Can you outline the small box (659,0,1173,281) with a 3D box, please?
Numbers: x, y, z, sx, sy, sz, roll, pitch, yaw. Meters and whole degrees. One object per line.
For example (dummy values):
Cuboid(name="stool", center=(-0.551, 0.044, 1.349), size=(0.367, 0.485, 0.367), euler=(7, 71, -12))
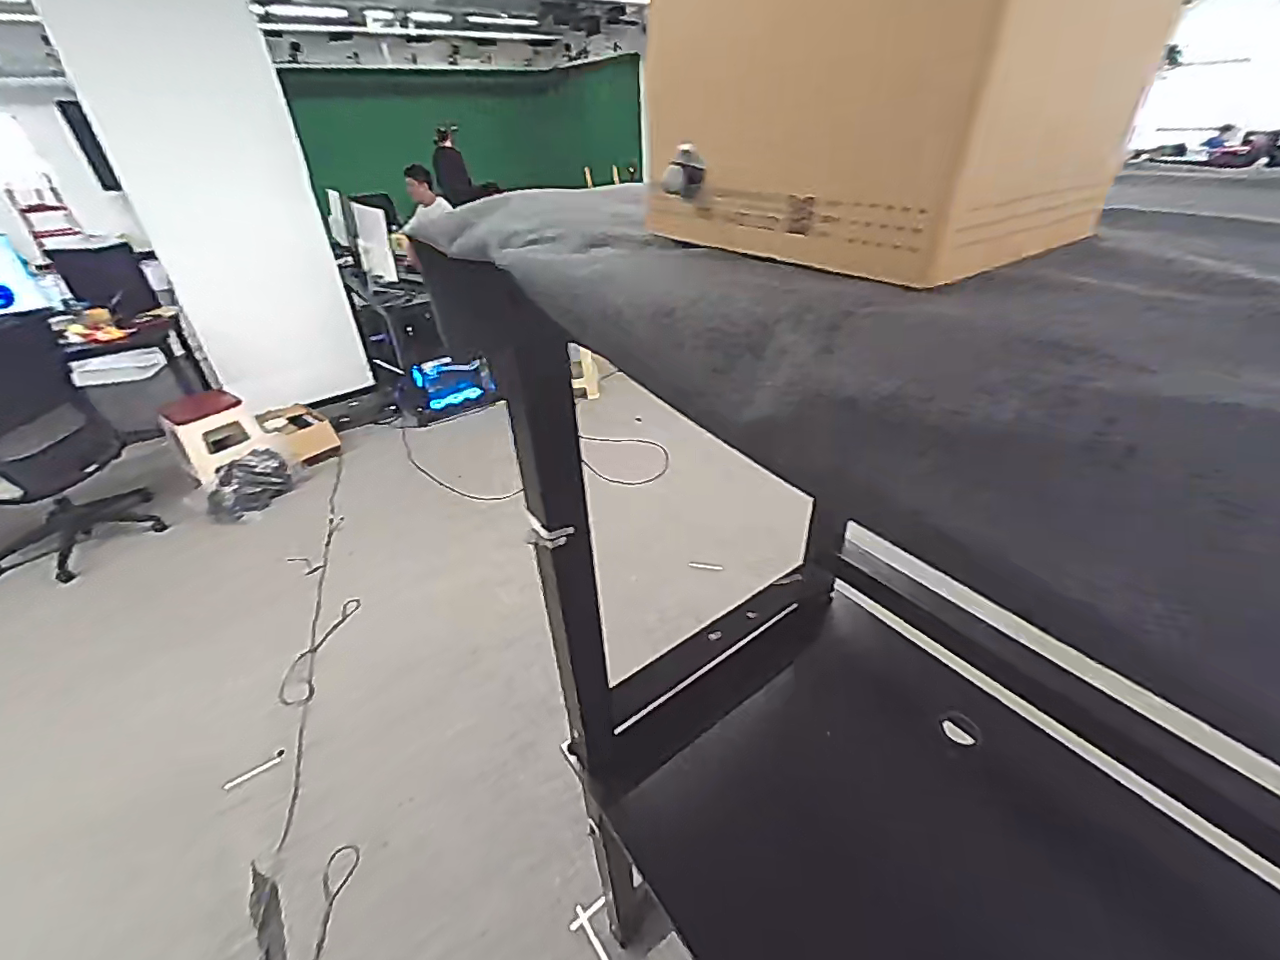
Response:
Cuboid(name="small box", center=(0.122, -0.200, 0.253), size=(0.179, 0.176, 0.168), euler=(-23, 40, -32))
